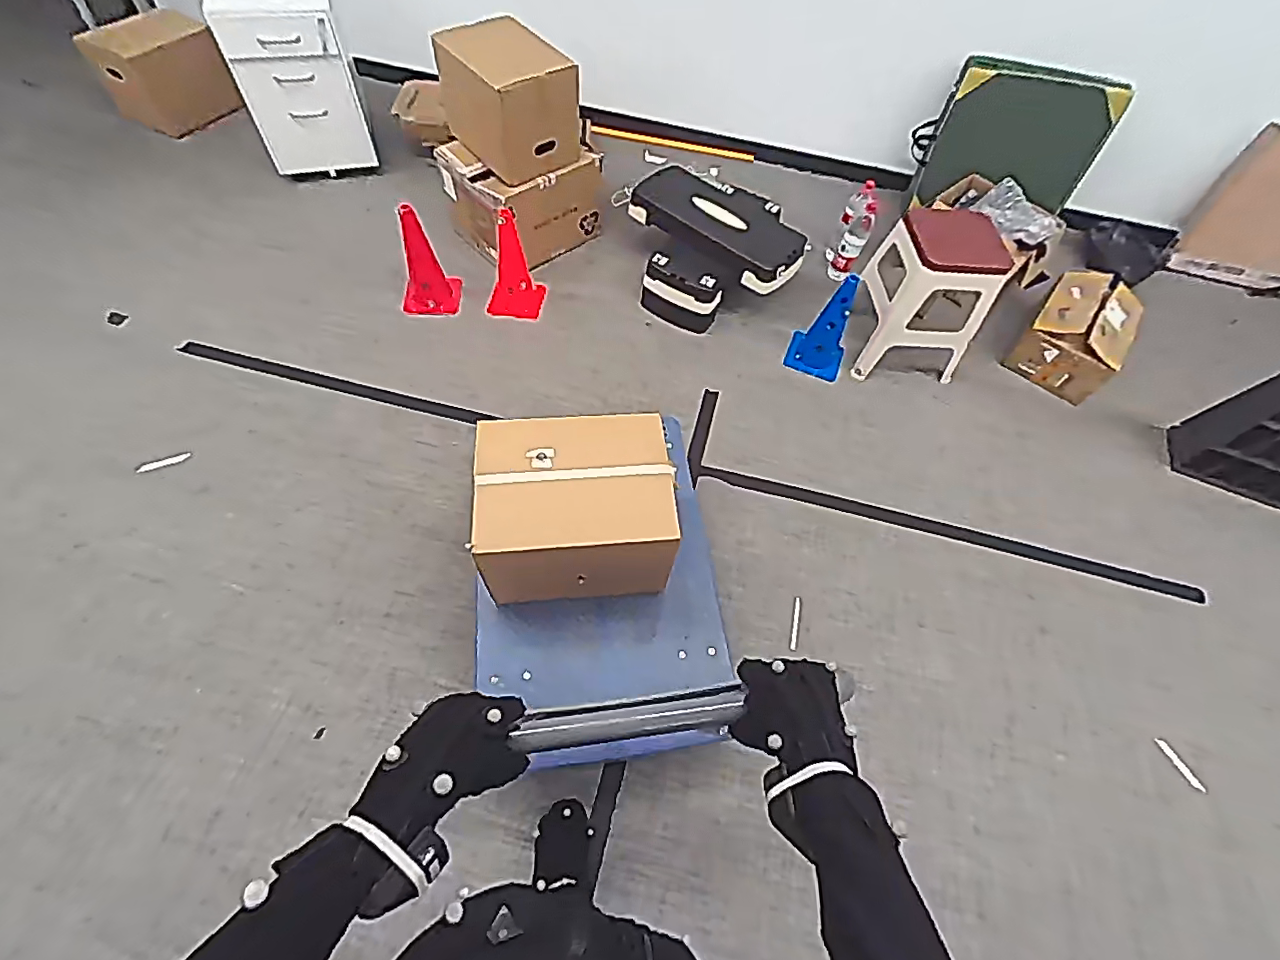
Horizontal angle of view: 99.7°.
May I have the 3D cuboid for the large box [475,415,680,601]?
[{"bbox_3d":[-0.142,0.073,1.249,0.408,0.320,0.320,-3,60,-6],"label":"large box"}]
